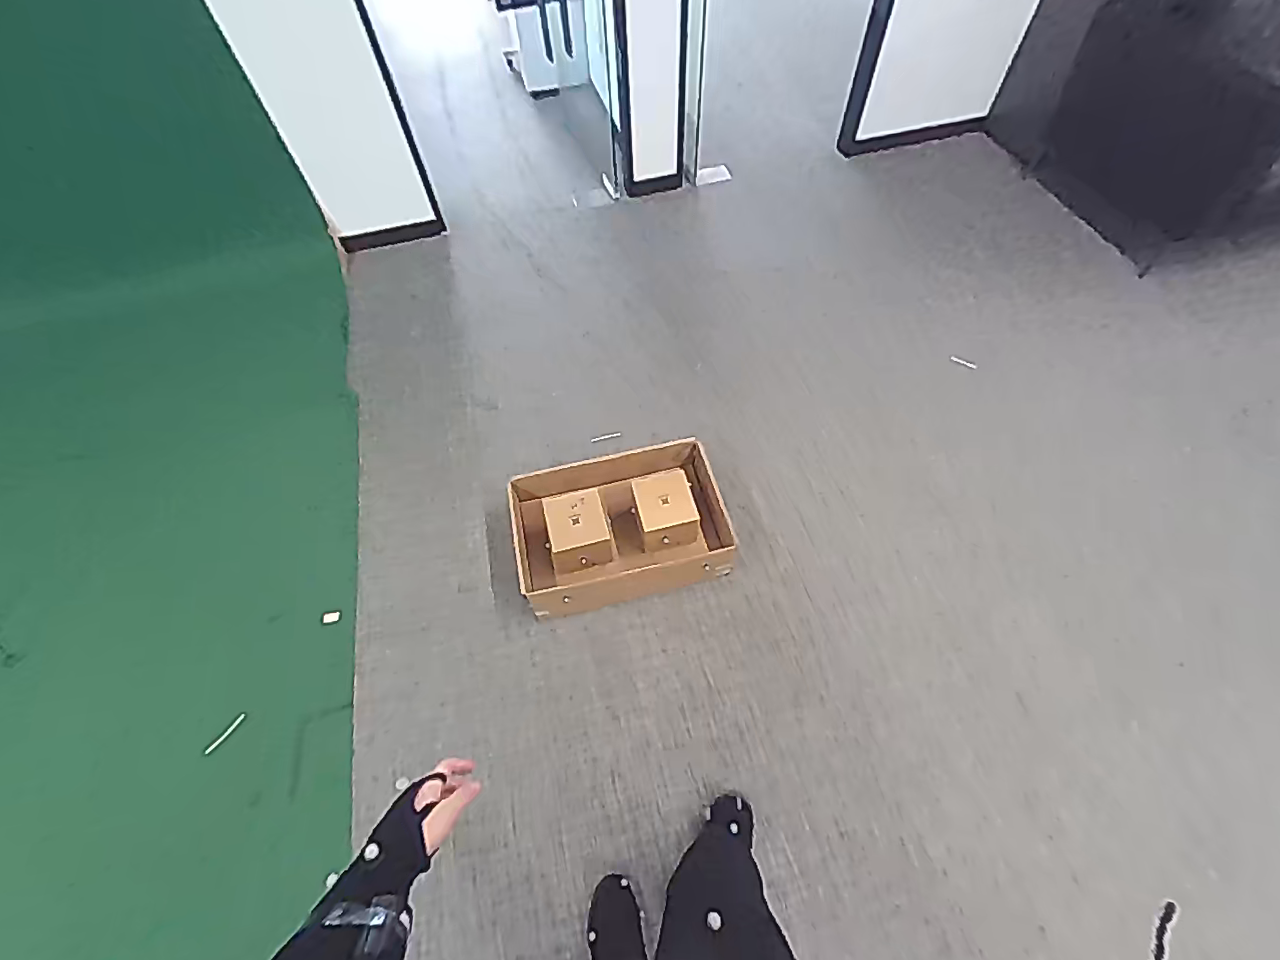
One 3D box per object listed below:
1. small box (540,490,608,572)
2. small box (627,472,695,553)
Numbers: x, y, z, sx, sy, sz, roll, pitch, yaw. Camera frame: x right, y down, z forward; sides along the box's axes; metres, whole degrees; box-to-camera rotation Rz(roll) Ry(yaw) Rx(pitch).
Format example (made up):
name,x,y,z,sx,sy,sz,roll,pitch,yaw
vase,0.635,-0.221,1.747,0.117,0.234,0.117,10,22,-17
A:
name,x,y,z,sx,sy,sz,roll,pitch,yaw
small box,-0.192,0.157,1.601,0.168,0.176,0.179,-12,59,-8
small box,0.063,0.104,1.631,0.168,0.176,0.179,-13,58,-6
